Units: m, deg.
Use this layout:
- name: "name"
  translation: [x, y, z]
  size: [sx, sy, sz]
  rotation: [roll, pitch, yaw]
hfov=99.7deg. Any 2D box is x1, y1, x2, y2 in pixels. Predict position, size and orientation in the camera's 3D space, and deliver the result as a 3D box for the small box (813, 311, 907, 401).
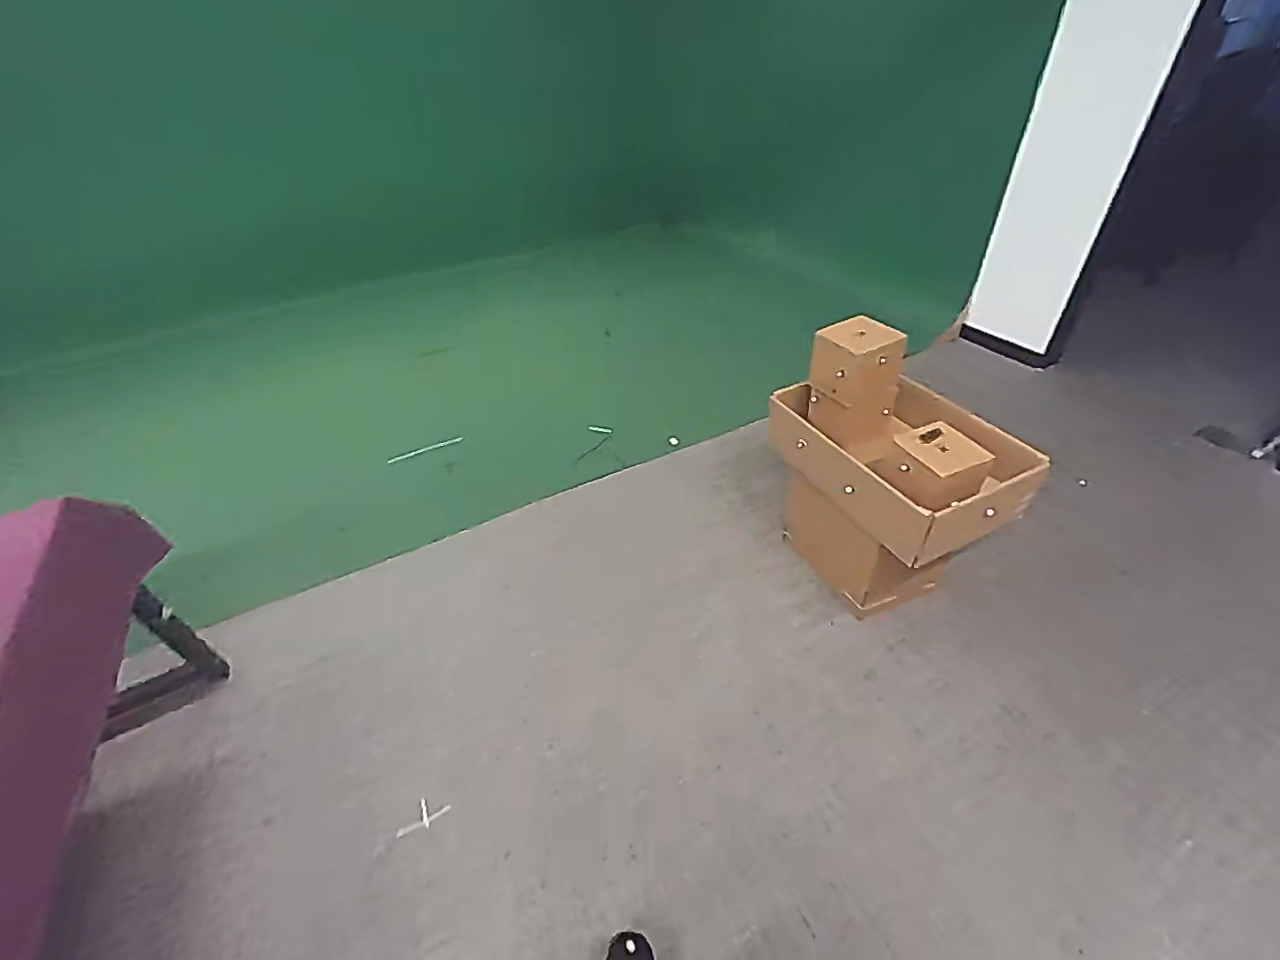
- name: "small box"
  translation: [0.601, -0.344, 1.506]
  size: [0.179, 0.176, 0.168]
  rotation: [-23, 44, -19]
